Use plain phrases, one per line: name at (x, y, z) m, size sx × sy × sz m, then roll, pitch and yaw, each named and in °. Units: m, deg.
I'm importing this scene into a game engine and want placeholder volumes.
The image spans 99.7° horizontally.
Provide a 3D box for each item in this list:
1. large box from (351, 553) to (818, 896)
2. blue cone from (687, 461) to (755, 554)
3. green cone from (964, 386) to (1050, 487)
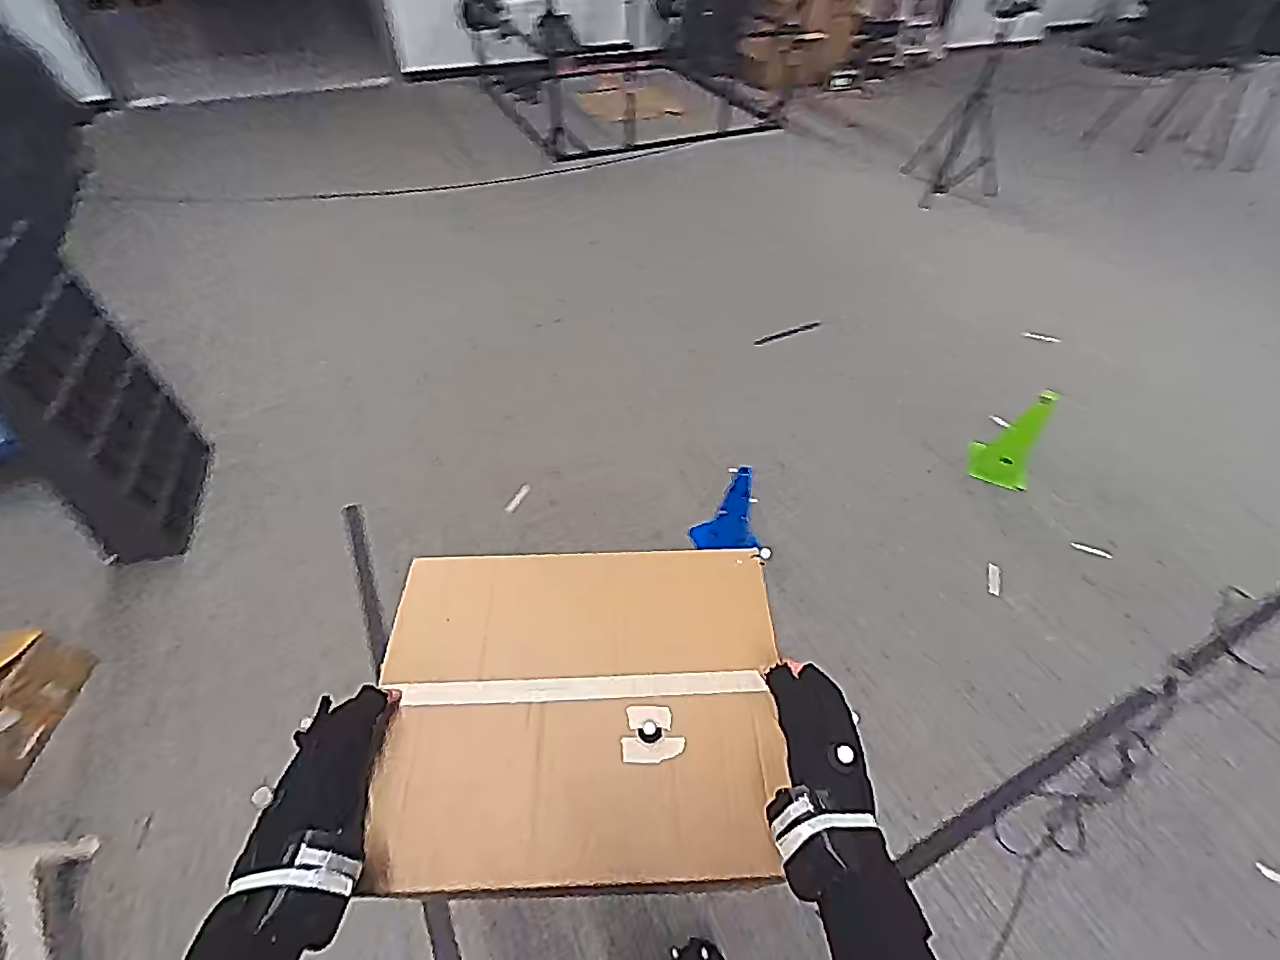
large box at (-0.050, 0.302, 0.660) m, size 0.408 × 0.320 × 0.320 m, roll 0°, pitch 51°, yaw -1°
blue cone at (0.274, 0.090, 1.675) m, size 0.193 × 0.380 × 0.192 m, roll -17°, pitch 51°, yaw -16°
green cone at (1.344, -0.180, 1.924) m, size 0.202 × 0.368 × 0.200 m, roll 20°, pitch 51°, yaw 17°
